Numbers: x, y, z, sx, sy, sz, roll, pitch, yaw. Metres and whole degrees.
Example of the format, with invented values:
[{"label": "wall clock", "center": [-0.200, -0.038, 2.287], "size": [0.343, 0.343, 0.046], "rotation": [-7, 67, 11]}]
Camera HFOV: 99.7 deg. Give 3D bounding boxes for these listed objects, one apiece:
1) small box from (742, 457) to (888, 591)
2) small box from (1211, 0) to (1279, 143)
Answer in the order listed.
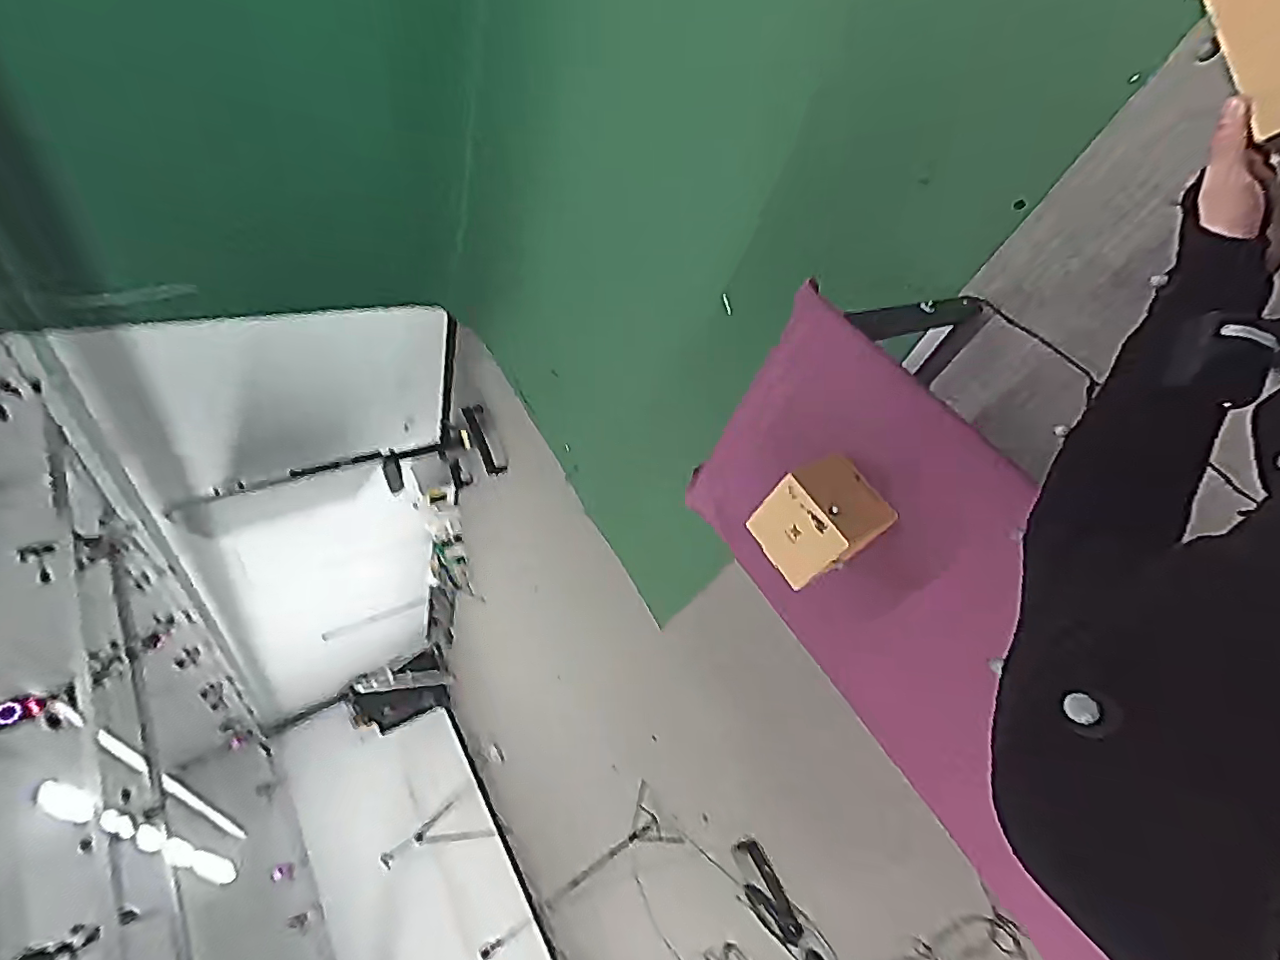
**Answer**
[{"label": "small box", "center": [0.338, 0.082, 1.048], "size": [0.168, 0.176, 0.179], "rotation": [54, 142, 22]}, {"label": "small box", "center": [0.528, -0.359, 0.365], "size": [0.168, 0.176, 0.179], "rotation": [-20, 85, 58]}]
